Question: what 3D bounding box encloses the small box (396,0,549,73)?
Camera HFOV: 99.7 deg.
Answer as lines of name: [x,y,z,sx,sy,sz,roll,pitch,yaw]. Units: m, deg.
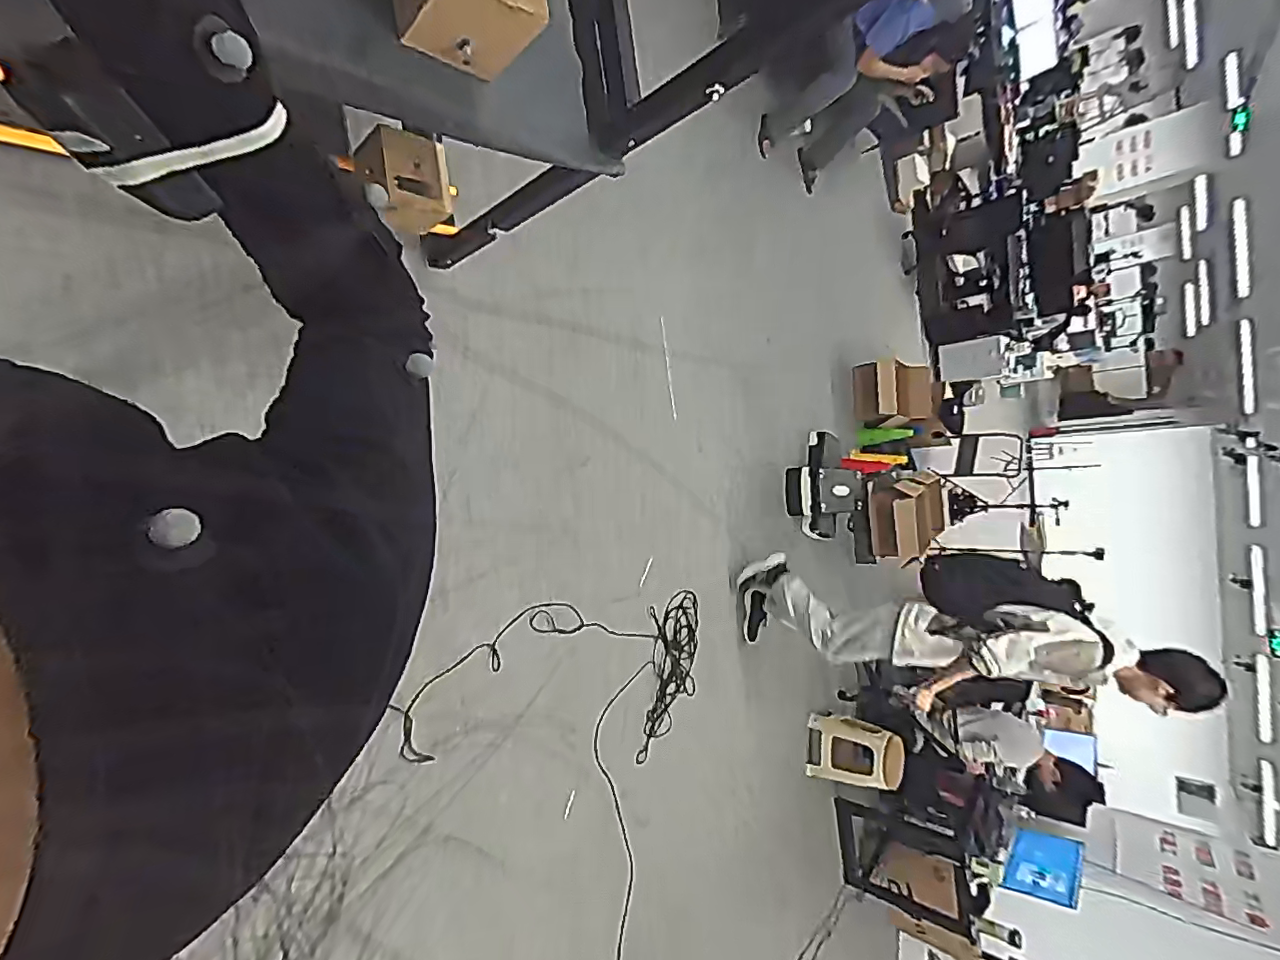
small box: [-0.265,-0.781,0.821,0.168,0.176,0.179,-13,96,-47]
